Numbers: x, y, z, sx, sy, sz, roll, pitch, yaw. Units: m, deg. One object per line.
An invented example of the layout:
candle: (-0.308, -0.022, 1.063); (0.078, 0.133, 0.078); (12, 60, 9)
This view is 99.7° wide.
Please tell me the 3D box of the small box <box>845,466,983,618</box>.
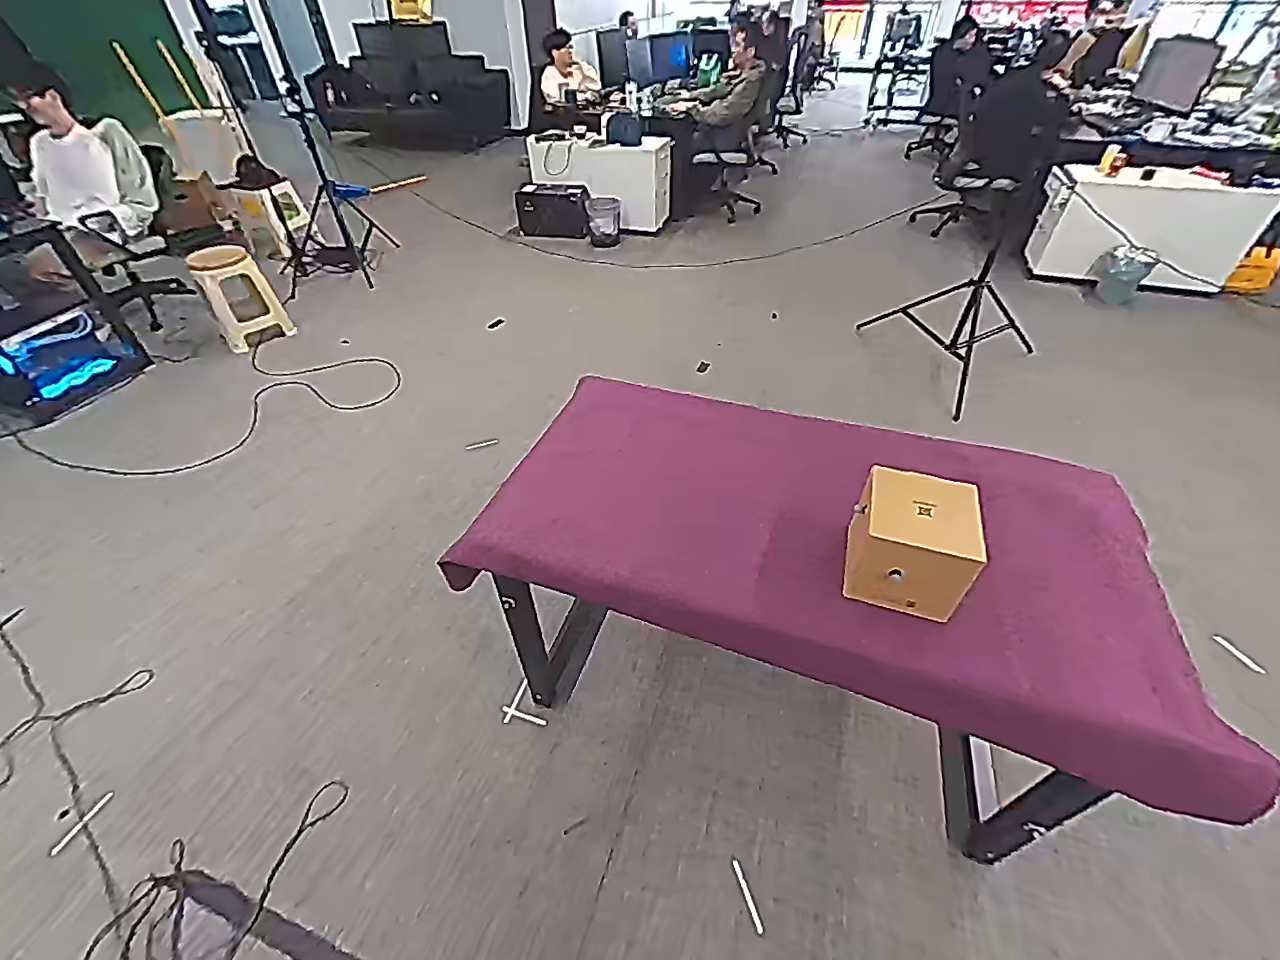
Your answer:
small box: (0.455, 0.106, 0.919); (0.168, 0.176, 0.179); (13, 44, 15)
